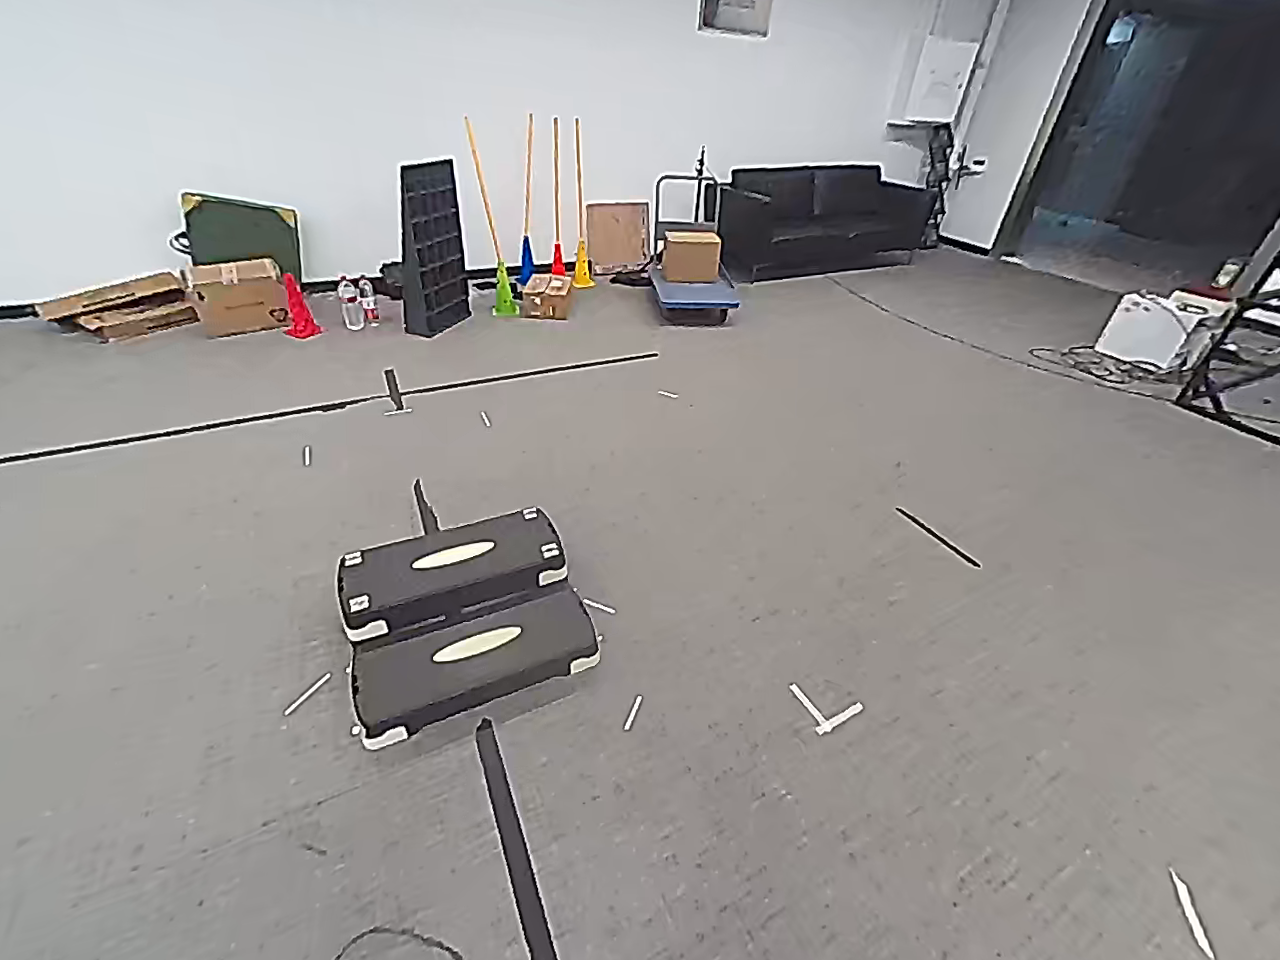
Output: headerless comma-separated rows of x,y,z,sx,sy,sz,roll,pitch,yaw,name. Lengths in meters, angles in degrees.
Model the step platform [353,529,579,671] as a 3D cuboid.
-0.550,0.368,1.762,0.684,0.204,0.286,-10,37,-20,step platform
